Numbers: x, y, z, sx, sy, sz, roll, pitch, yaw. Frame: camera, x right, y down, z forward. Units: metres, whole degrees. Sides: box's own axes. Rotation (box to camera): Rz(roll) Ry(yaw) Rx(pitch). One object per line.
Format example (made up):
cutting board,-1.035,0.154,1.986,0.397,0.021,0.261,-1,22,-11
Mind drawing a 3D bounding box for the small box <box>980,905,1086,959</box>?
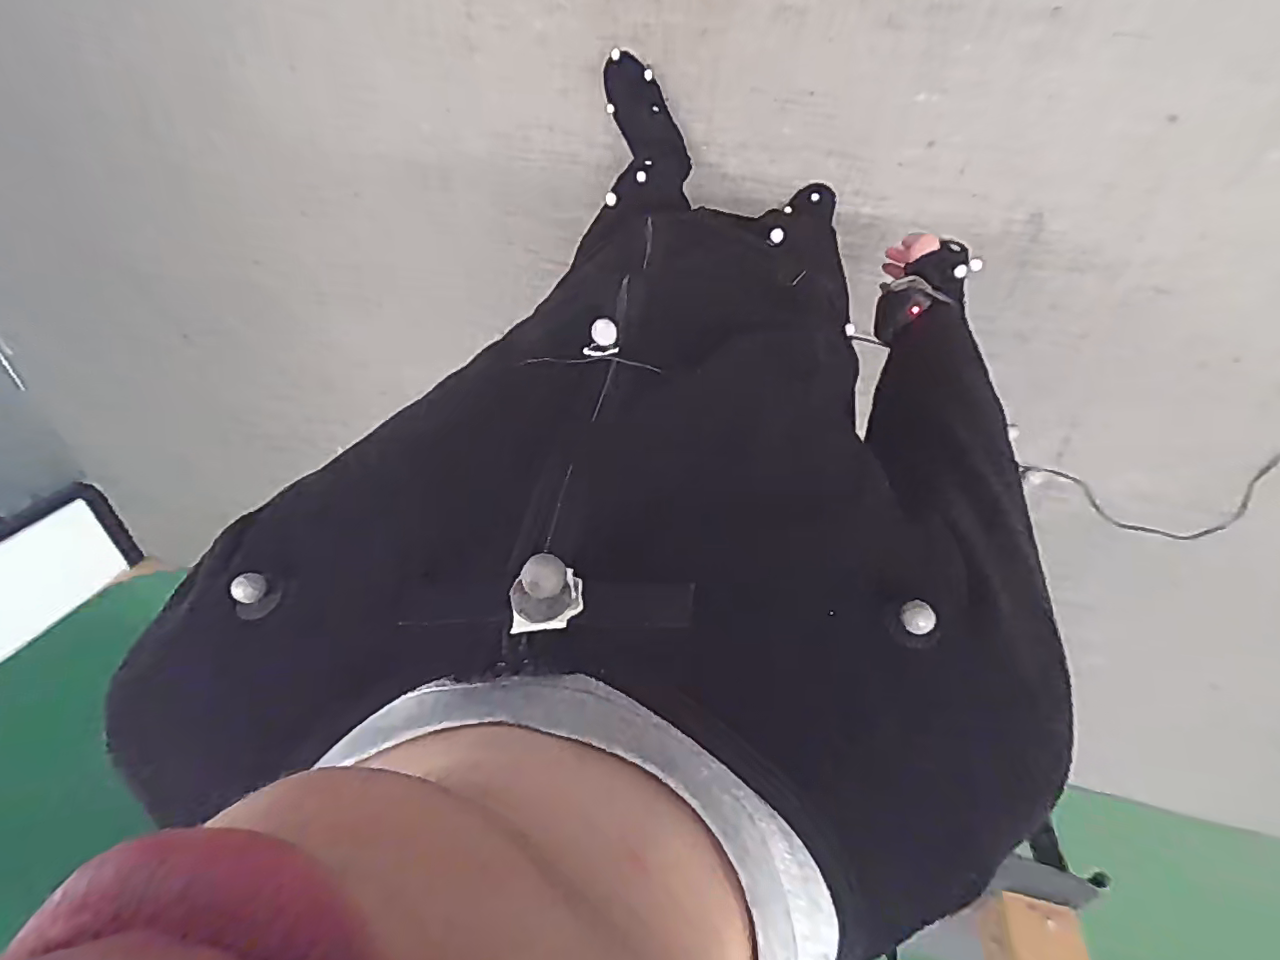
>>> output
small box,0.933,1.152,1.276,0.168,0.176,0.179,11,125,10
